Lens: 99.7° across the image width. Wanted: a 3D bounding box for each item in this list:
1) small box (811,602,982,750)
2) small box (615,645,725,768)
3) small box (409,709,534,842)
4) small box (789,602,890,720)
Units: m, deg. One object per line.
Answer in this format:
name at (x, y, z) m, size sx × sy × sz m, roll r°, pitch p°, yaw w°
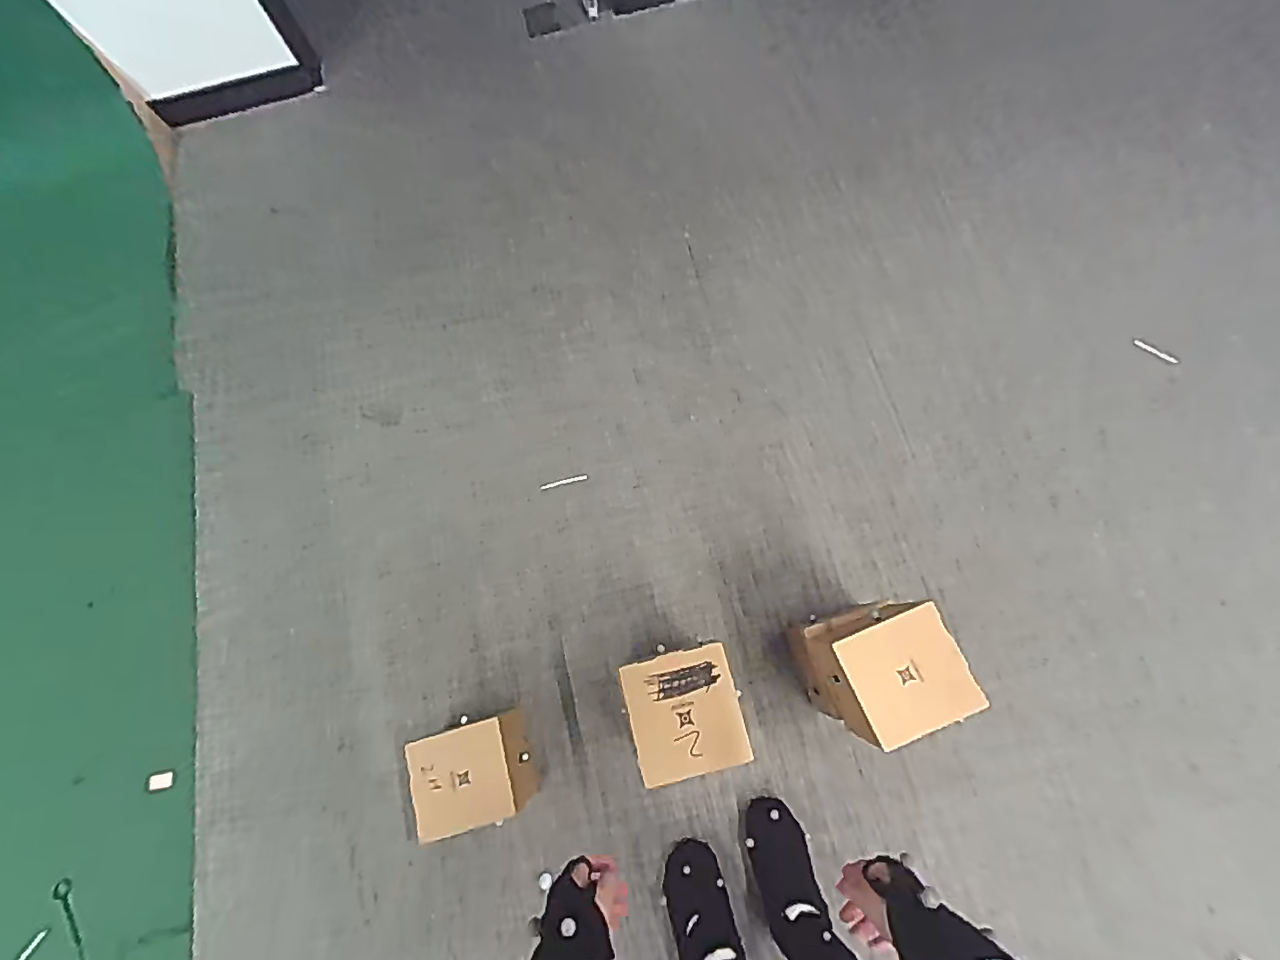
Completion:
small box at (0.399, 0.314, 0.886) m, size 0.179 × 0.176 × 0.168 m, roll -22°, pitch 74°, yaw -3°
small box at (0.058, 0.426, 1.045) m, size 0.168 × 0.176 × 0.179 m, roll -15°, pitch 73°, yaw -1°
small box at (-0.311, 0.550, 1.034) m, size 0.179 × 0.176 × 0.168 m, roll -16°, pitch 73°, yaw -1°
small box at (0.402, 0.345, 1.045) m, size 0.179 × 0.176 × 0.168 m, roll -17°, pitch 75°, yaw -2°
